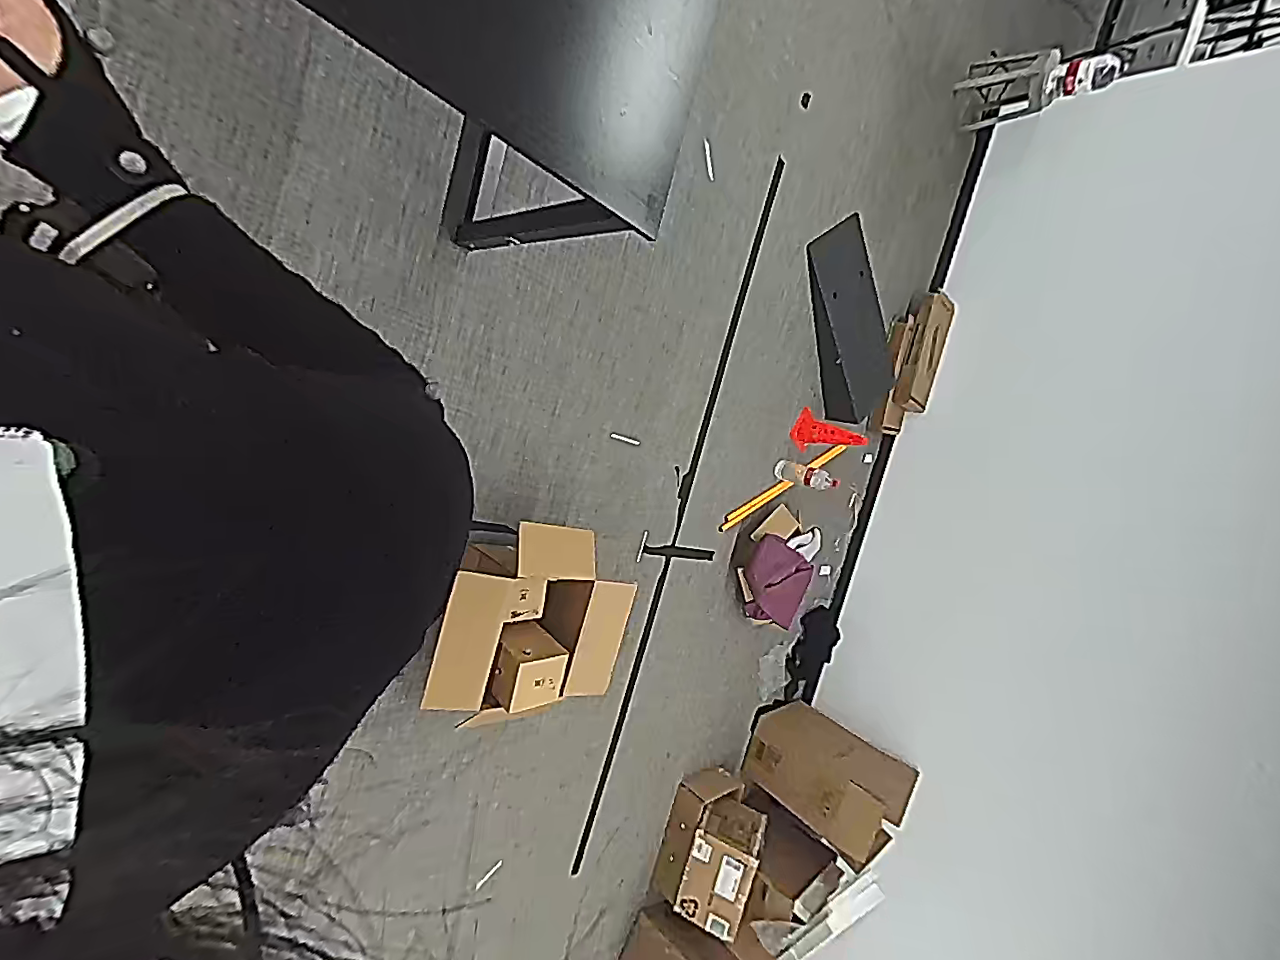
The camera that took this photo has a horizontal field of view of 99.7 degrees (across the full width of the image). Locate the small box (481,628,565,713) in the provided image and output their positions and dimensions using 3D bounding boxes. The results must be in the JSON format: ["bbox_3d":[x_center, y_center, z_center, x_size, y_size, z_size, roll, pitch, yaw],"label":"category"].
[{"bbox_3d":[-0.359,0.572,1.643,0.179,0.176,0.168,4,105,-45],"label":"small box"}]
